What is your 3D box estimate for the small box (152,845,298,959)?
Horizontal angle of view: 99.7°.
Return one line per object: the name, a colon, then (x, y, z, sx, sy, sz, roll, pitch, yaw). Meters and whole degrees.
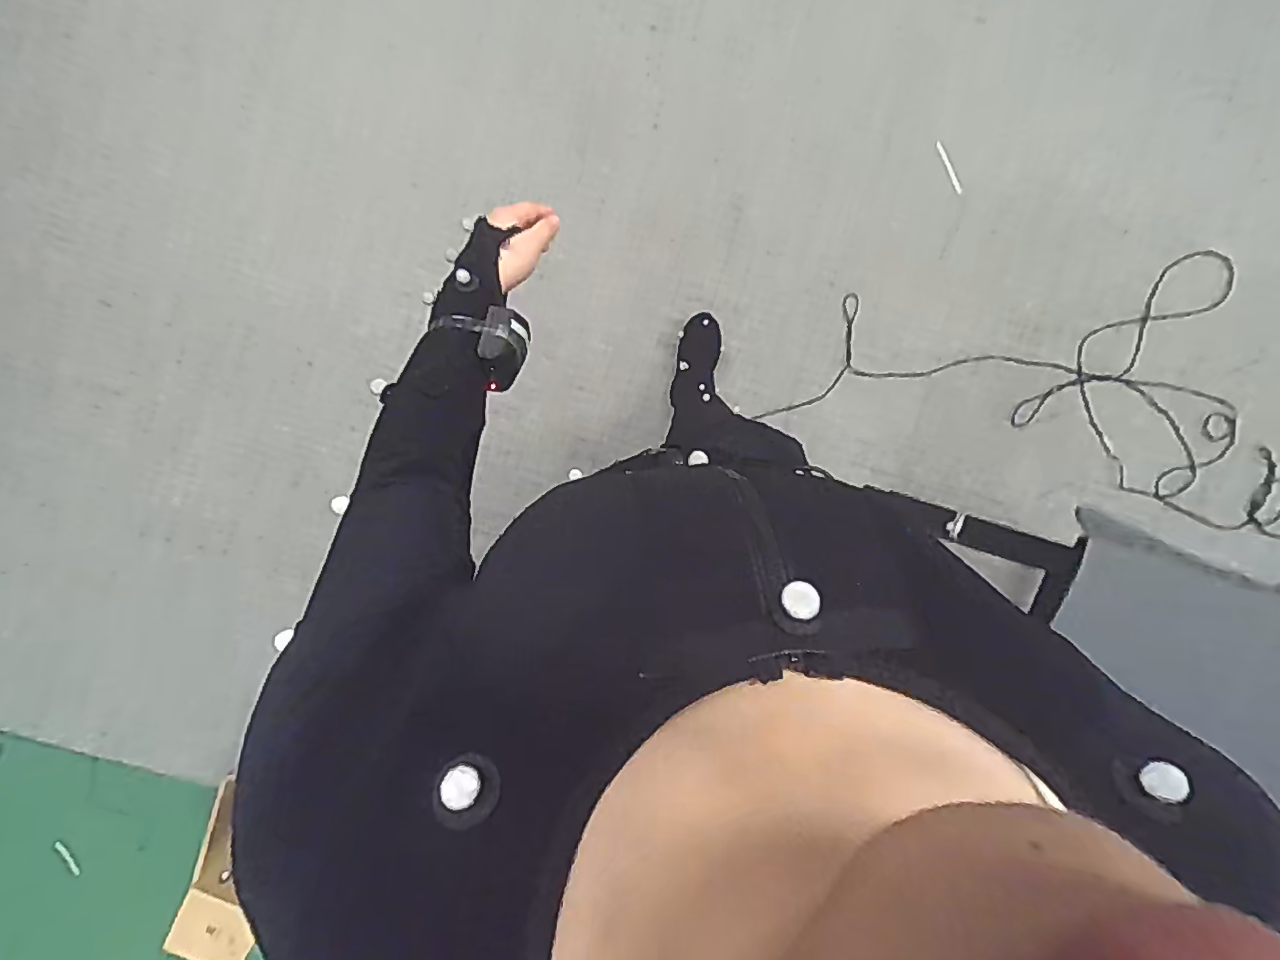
small box: (-0.944, 0.990, 1.244, 0.179, 0.176, 0.168, 27, 95, -6)
